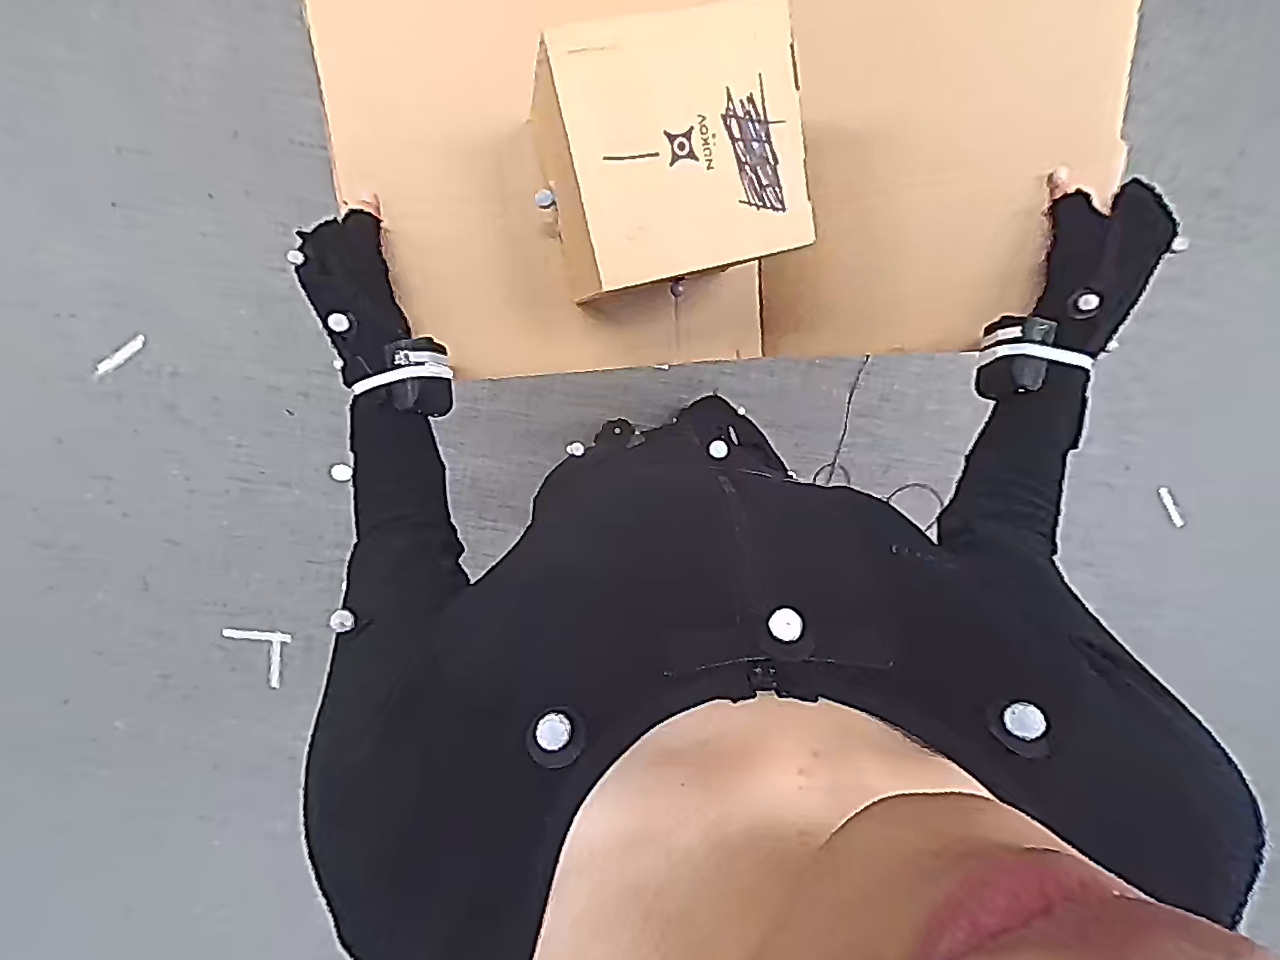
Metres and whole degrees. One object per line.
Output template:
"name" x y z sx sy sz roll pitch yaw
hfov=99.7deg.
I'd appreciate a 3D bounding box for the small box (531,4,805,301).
"small box" 0.014 -0.260 0.467 0.179 0.176 0.168 -17 108 -9
